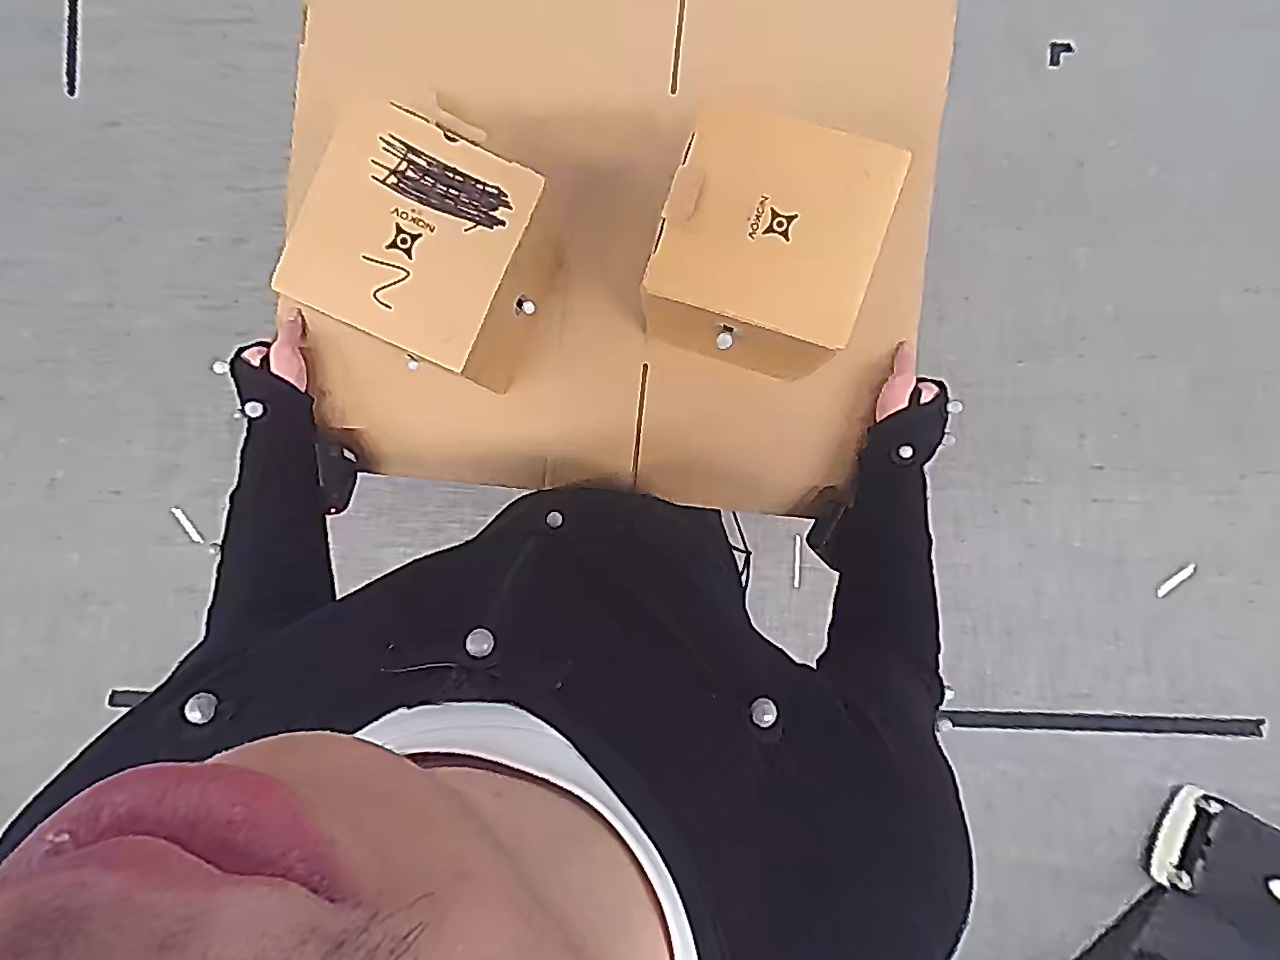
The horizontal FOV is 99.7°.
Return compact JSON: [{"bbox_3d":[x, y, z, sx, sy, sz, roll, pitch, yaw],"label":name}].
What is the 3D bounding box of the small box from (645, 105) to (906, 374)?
[{"bbox_3d":[0.117,-0.212,0.529,0.179,0.176,0.168,19,92,4],"label":"small box"}]
